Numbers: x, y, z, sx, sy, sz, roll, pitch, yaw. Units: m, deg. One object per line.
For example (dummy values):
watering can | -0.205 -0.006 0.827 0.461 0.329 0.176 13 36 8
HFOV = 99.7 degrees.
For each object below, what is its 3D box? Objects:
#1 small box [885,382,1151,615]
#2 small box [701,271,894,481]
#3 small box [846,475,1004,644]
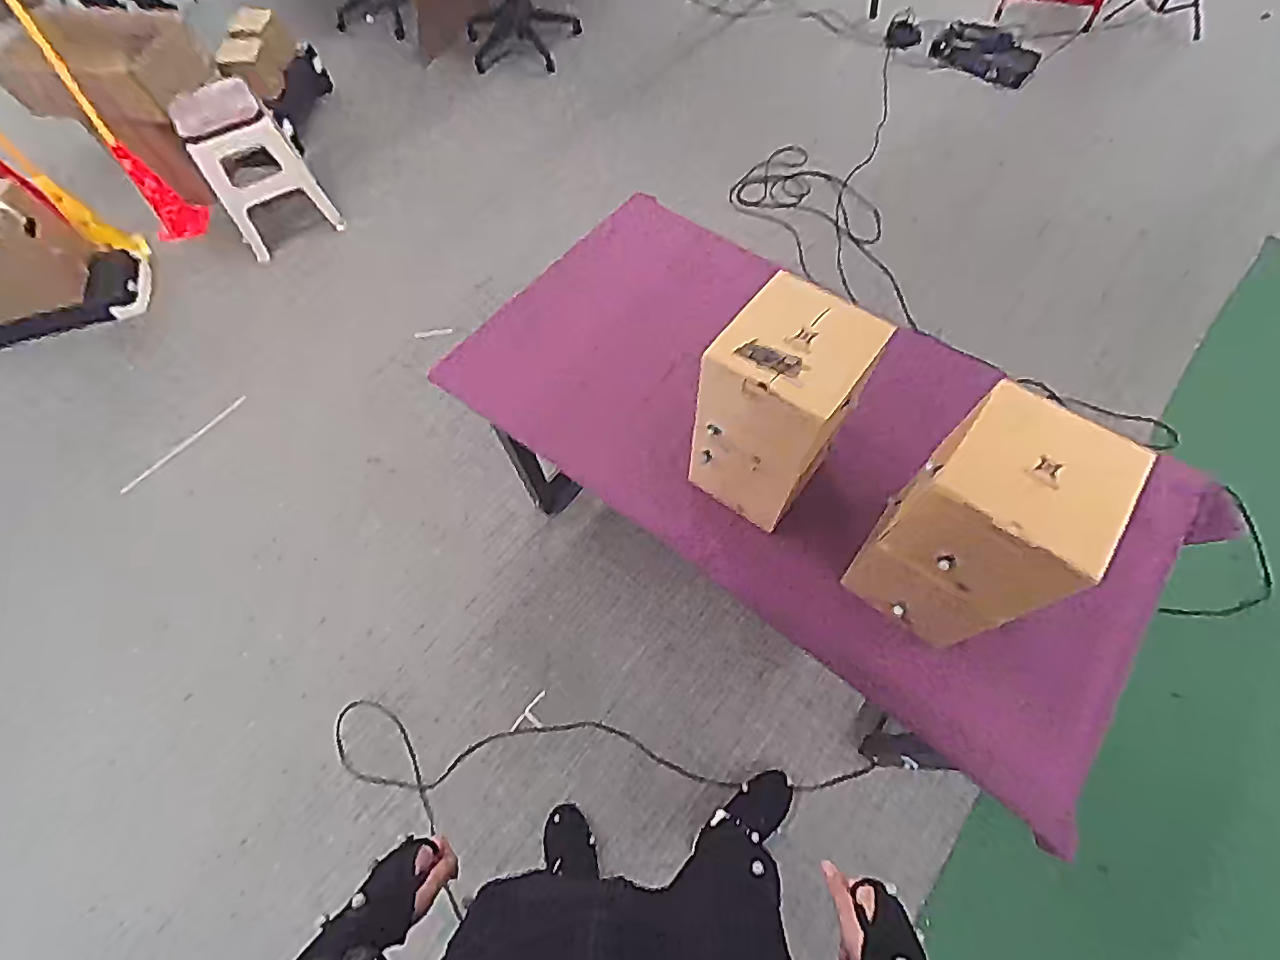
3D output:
small box | 0.419 0.028 0.629 0.168 0.176 0.179 35 70 18
small box | 0.194 -0.129 0.714 0.168 0.176 0.179 35 68 17
small box | 0.423 0.105 0.772 0.168 0.176 0.179 35 69 18
